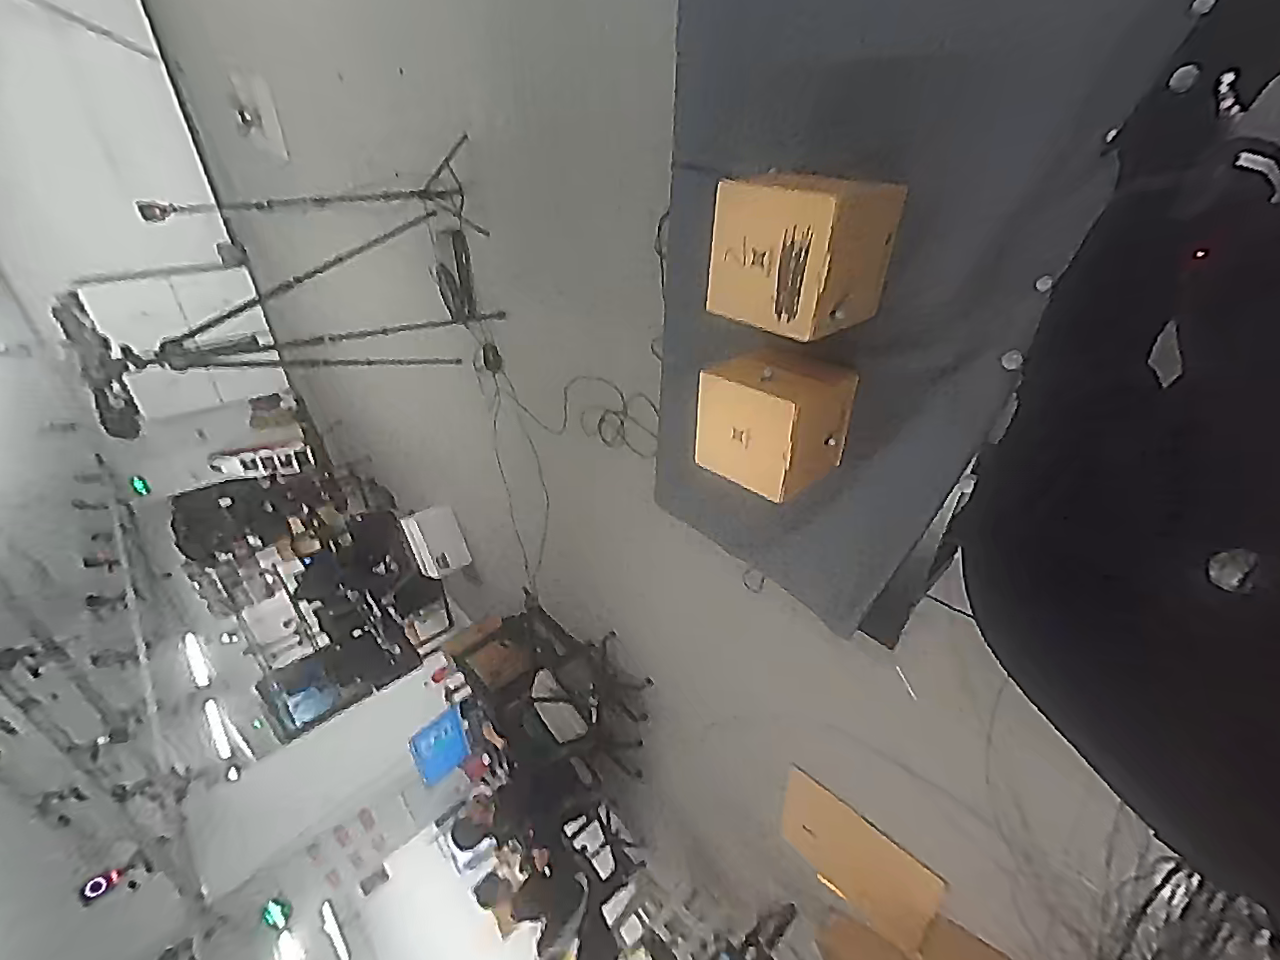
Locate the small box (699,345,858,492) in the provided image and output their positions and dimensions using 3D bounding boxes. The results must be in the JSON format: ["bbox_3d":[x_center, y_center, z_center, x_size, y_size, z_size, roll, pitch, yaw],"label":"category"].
[{"bbox_3d":[0.219,-0.109,0.875,0.179,0.176,0.168,29,132,38],"label":"small box"}]
